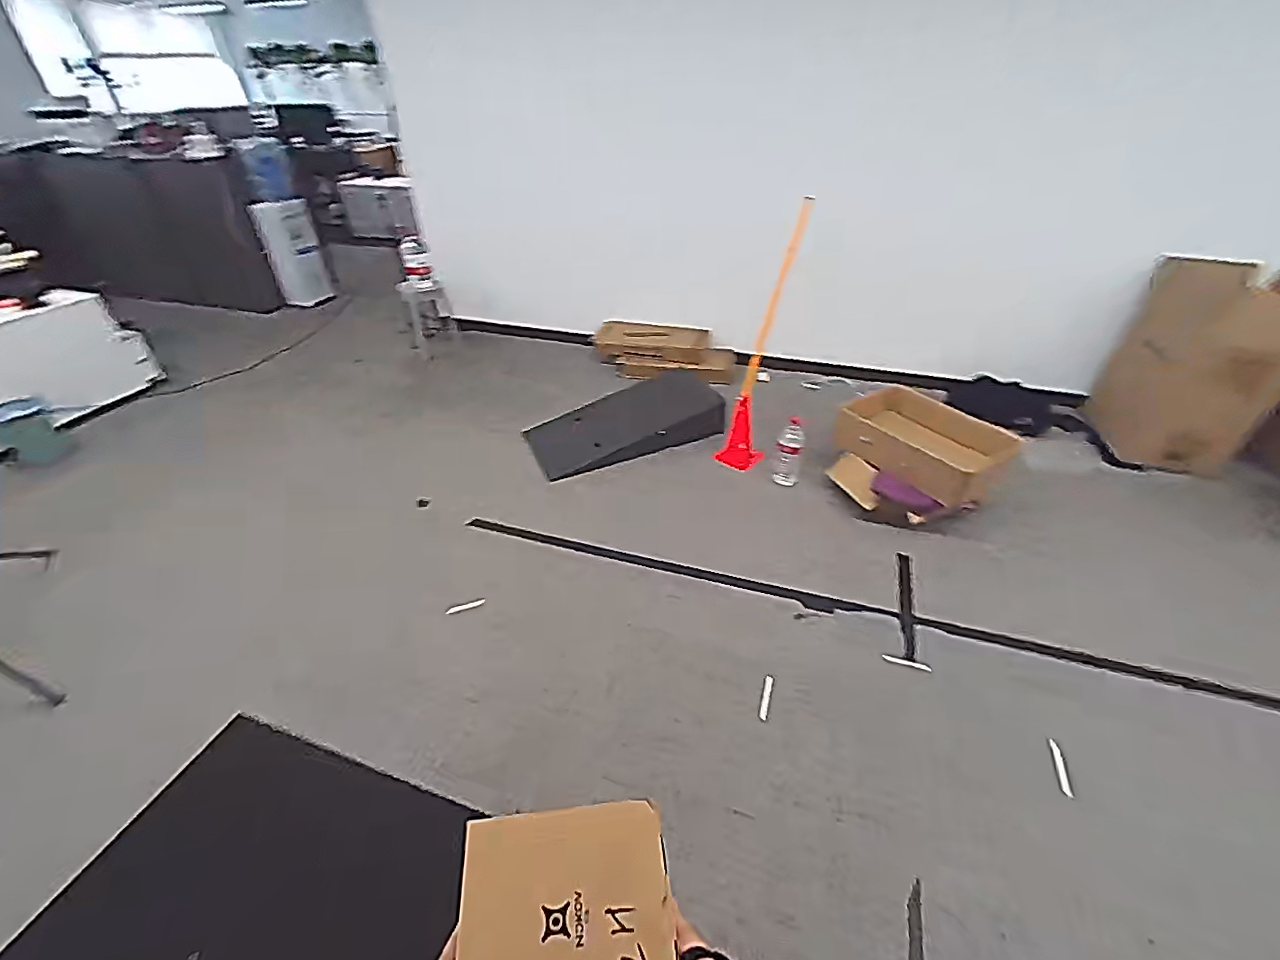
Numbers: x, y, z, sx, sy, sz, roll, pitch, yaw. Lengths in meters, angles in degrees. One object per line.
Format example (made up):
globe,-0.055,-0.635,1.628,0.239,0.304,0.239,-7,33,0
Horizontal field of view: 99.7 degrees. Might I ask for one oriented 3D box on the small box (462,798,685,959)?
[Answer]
small box,-0.057,0.415,0.496,0.179,0.176,0.168,-3,45,-6
